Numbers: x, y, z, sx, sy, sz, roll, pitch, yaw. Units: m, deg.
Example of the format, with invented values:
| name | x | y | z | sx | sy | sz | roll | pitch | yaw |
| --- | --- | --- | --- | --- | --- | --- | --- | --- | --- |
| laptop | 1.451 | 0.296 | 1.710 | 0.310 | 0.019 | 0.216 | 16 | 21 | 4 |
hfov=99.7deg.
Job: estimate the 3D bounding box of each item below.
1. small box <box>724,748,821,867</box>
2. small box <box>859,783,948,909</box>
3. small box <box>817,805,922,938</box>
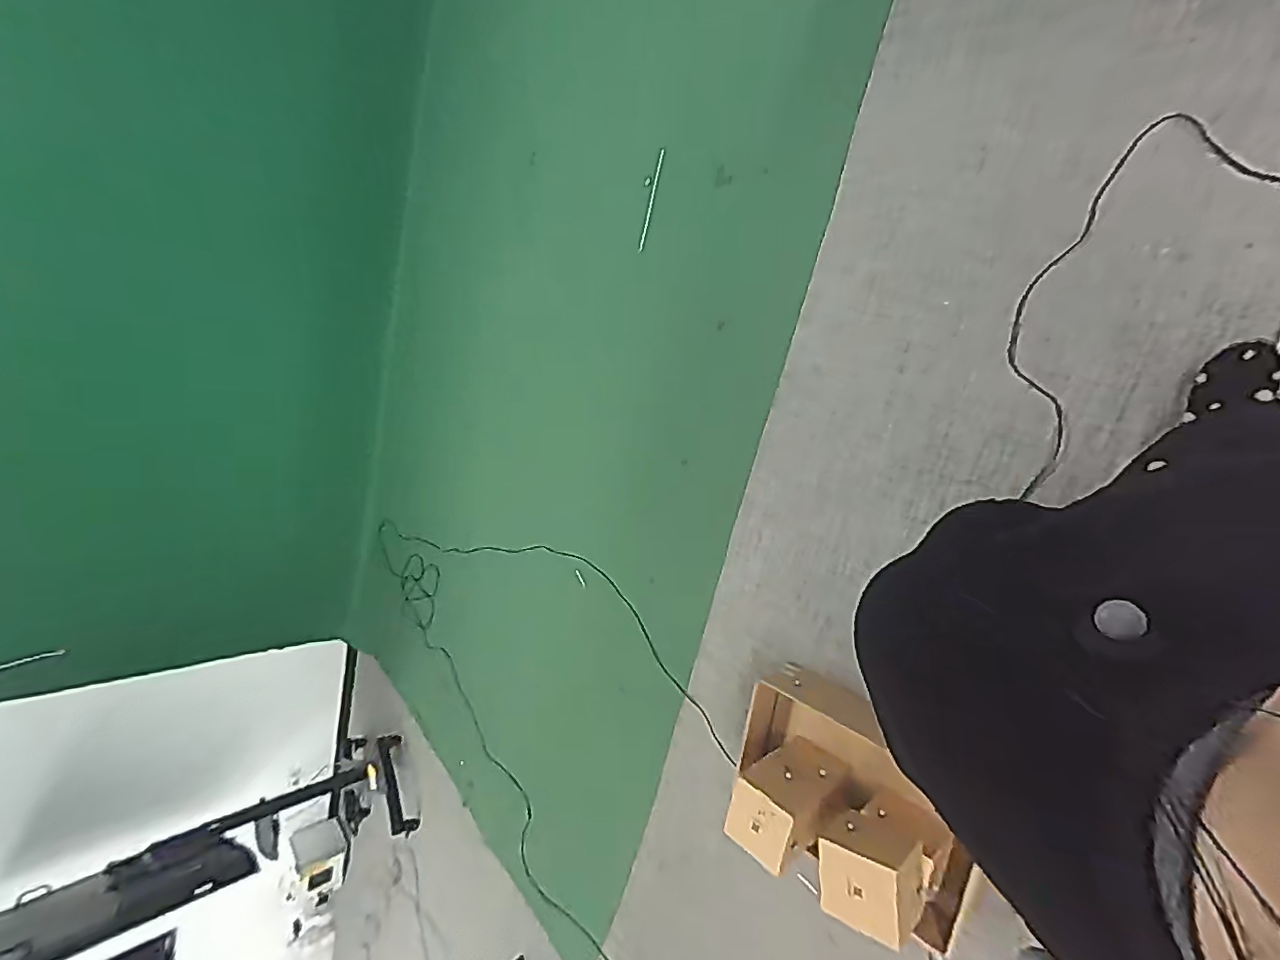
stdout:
| name | x | y | z | sx | sy | sz | roll | pitch | yaw |
| --- | --- | --- | --- | --- | --- | --- | --- | --- | --- |
| small box | 0.352 | 0.851 | 1.425 | 0.168 | 0.176 | 0.179 | 22 | 104 | 42 |
| small box | 0.649 | 0.908 | 1.365 | 0.179 | 0.176 | 0.168 | 20 | 103 | 44 |
| small box | 0.532 | 0.888 | 1.253 | 0.179 | 0.176 | 0.168 | -3 | 87 | 45 |
